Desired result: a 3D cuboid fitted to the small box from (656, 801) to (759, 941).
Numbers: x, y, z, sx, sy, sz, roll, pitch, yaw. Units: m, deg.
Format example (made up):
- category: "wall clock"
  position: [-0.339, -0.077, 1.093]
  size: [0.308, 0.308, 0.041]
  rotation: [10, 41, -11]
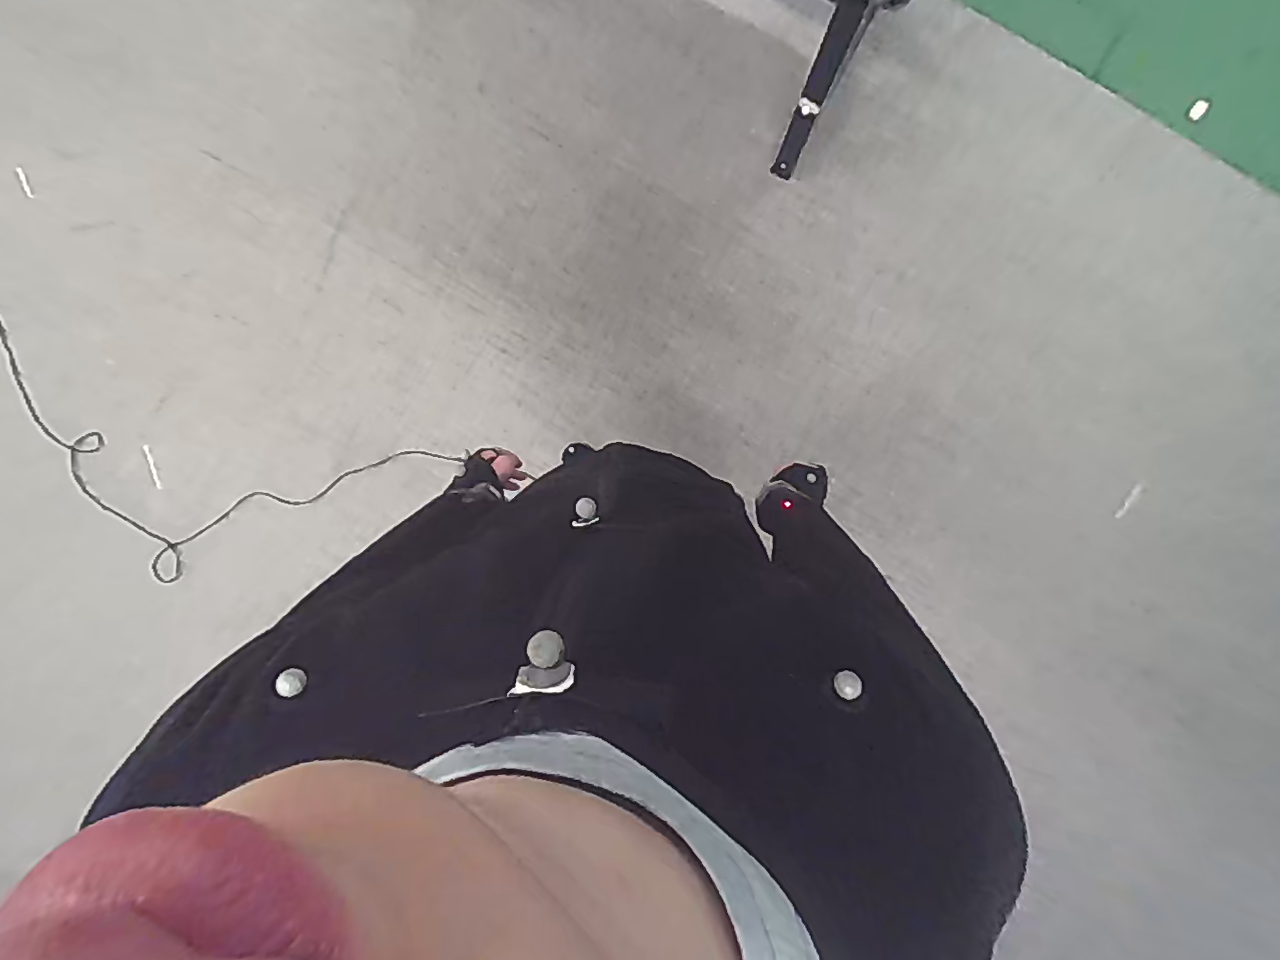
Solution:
- category: "small box"
  position: [0.144, 0.864, 1.214]
  size: [0.179, 0.176, 0.168]
  rotation: [20, 97, -1]
